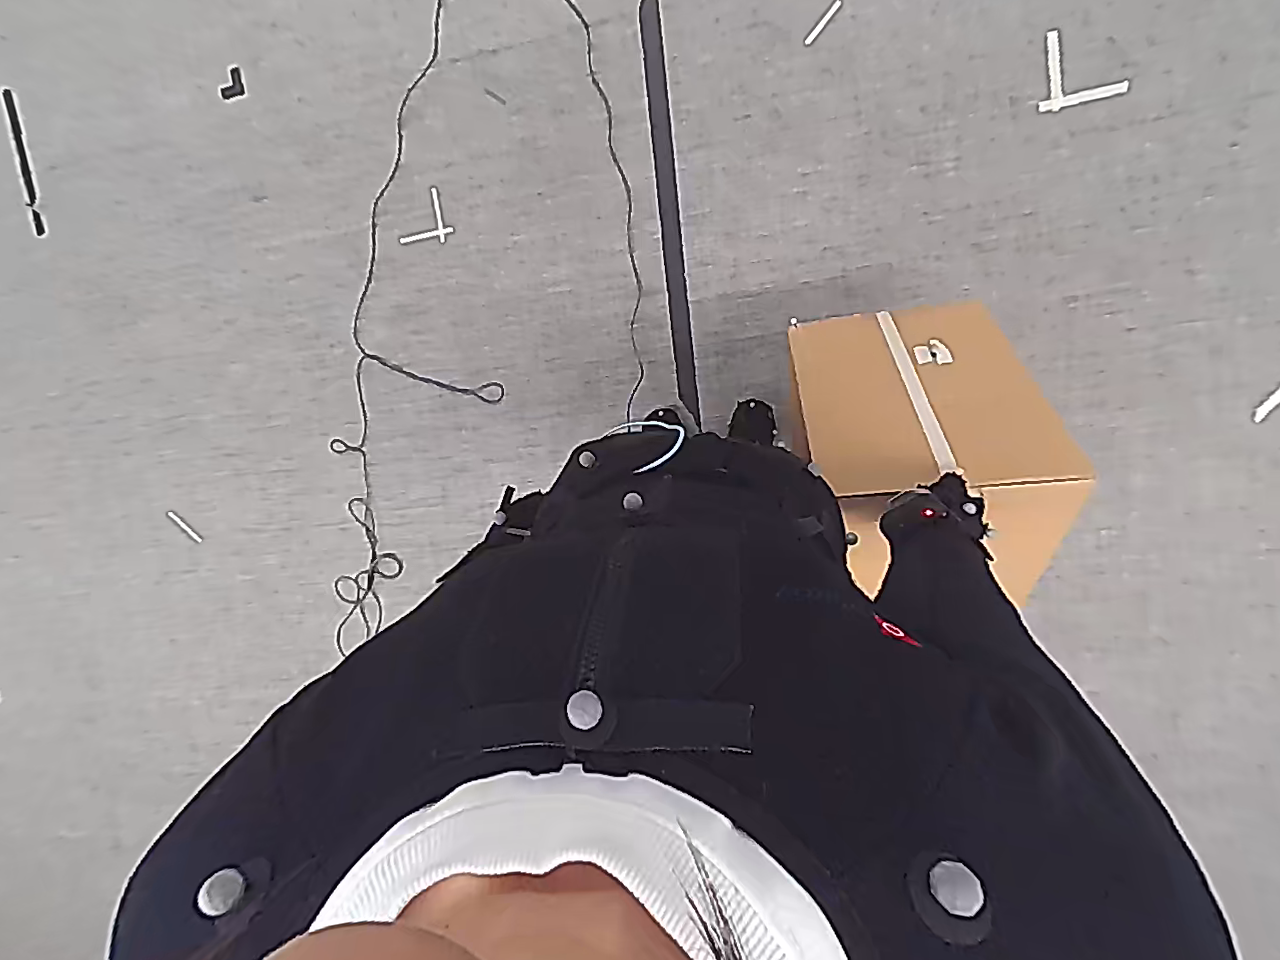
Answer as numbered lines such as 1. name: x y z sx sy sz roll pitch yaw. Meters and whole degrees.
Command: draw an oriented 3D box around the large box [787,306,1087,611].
1. large box: 0.434 -0.034 0.916 0.320 0.408 0.320 -5 136 11
